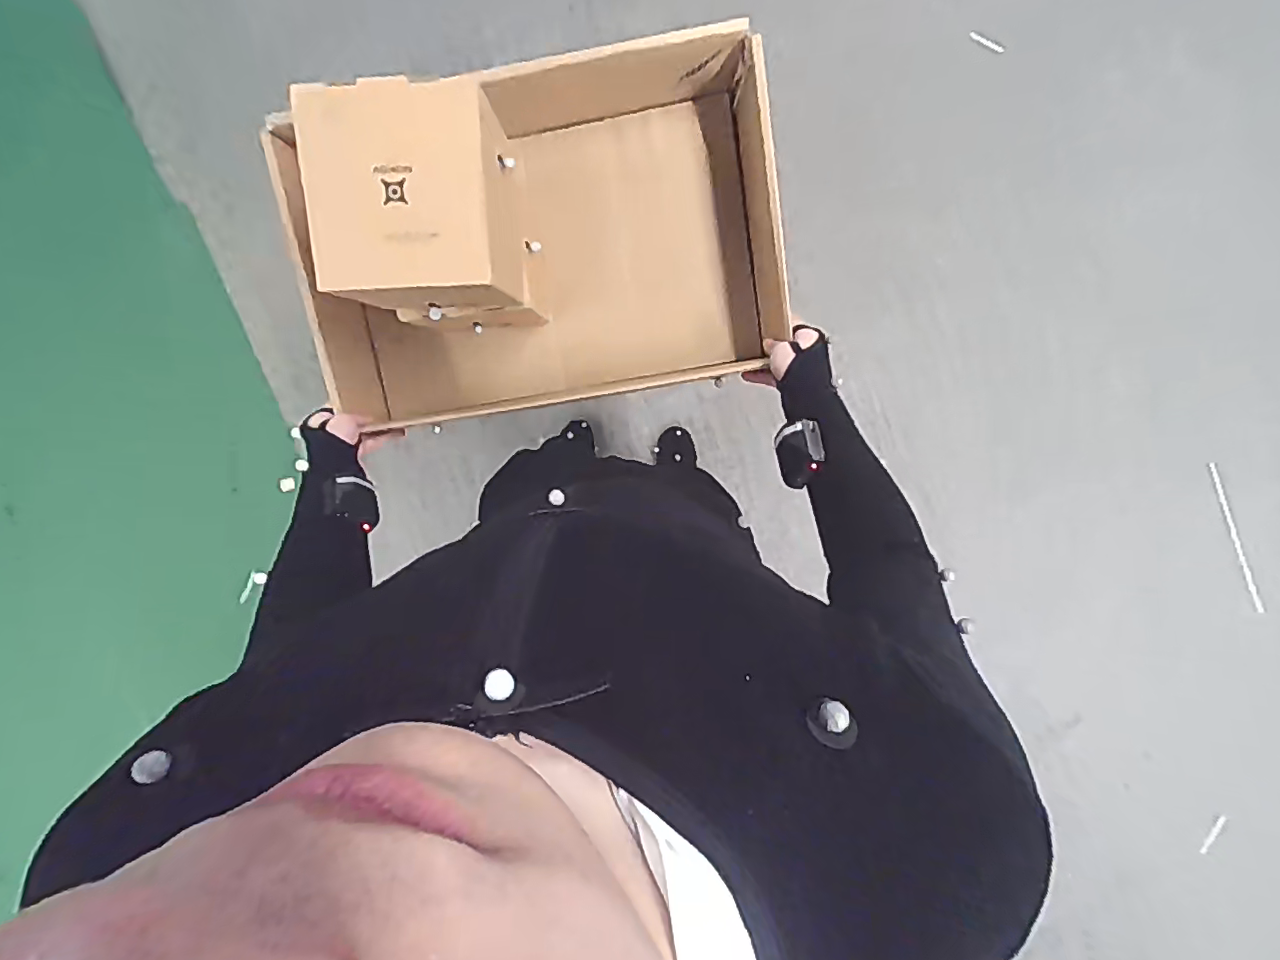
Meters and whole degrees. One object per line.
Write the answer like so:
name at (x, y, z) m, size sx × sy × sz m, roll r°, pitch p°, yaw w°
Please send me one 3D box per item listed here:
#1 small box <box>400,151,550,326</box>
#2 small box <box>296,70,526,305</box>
small box at (-0.220, -0.310, 0.726) m, size 0.168 × 0.176 × 0.179 m, roll -5°, pitch 101°, yaw 0°
small box at (-0.219, -0.285, 0.565) m, size 0.168 × 0.176 × 0.179 m, roll -1°, pitch 101°, yaw 0°
